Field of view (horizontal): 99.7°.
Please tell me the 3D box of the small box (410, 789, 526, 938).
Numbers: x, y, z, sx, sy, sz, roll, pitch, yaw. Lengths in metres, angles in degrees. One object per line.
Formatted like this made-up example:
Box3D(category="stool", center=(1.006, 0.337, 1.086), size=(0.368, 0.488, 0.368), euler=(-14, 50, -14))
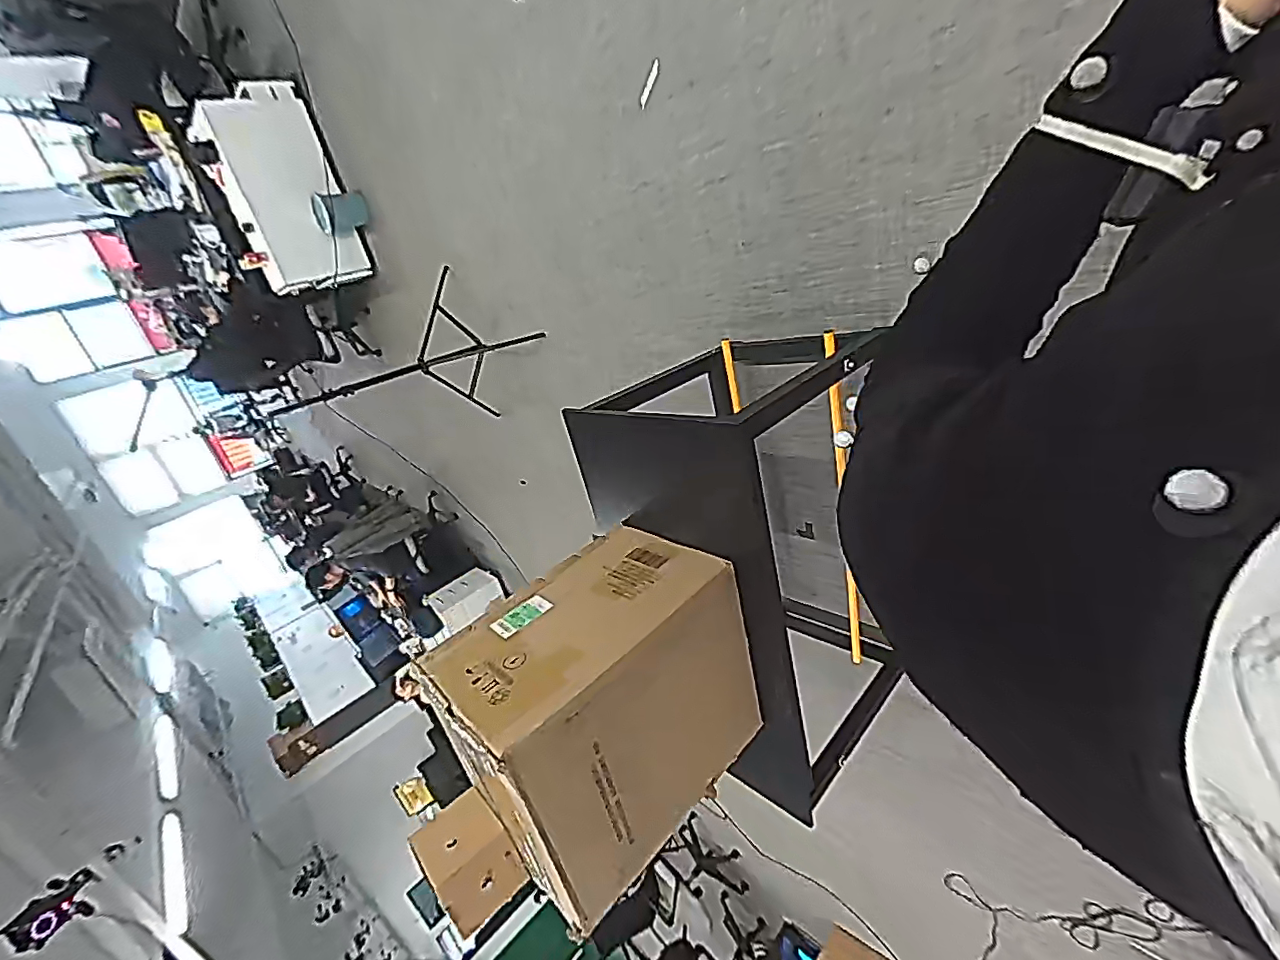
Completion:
Box3D(category="small box", center=(-0.373, 0.834, 1.198), size=(0.179, 0.176, 0.168), euler=(8, 121, 50))
